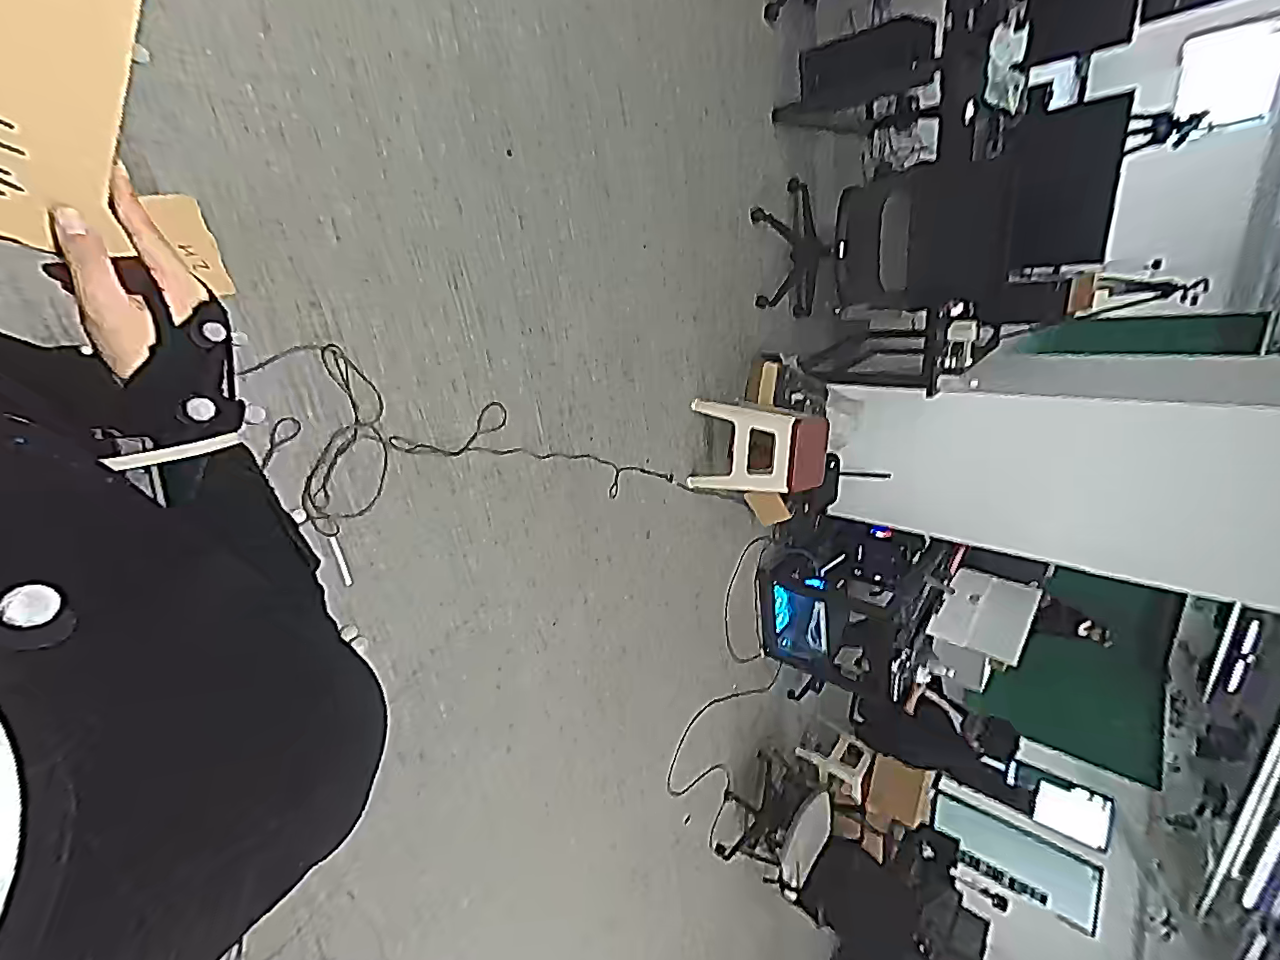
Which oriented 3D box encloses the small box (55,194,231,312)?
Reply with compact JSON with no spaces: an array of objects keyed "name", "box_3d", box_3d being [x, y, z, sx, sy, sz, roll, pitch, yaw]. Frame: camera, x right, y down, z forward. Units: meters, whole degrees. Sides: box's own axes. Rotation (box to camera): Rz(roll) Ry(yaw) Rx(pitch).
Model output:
[{"name":"small box","box_3d":[-0.868,-0.394,0.950,0.179,0.176,0.168,-30,120,-40]}]
